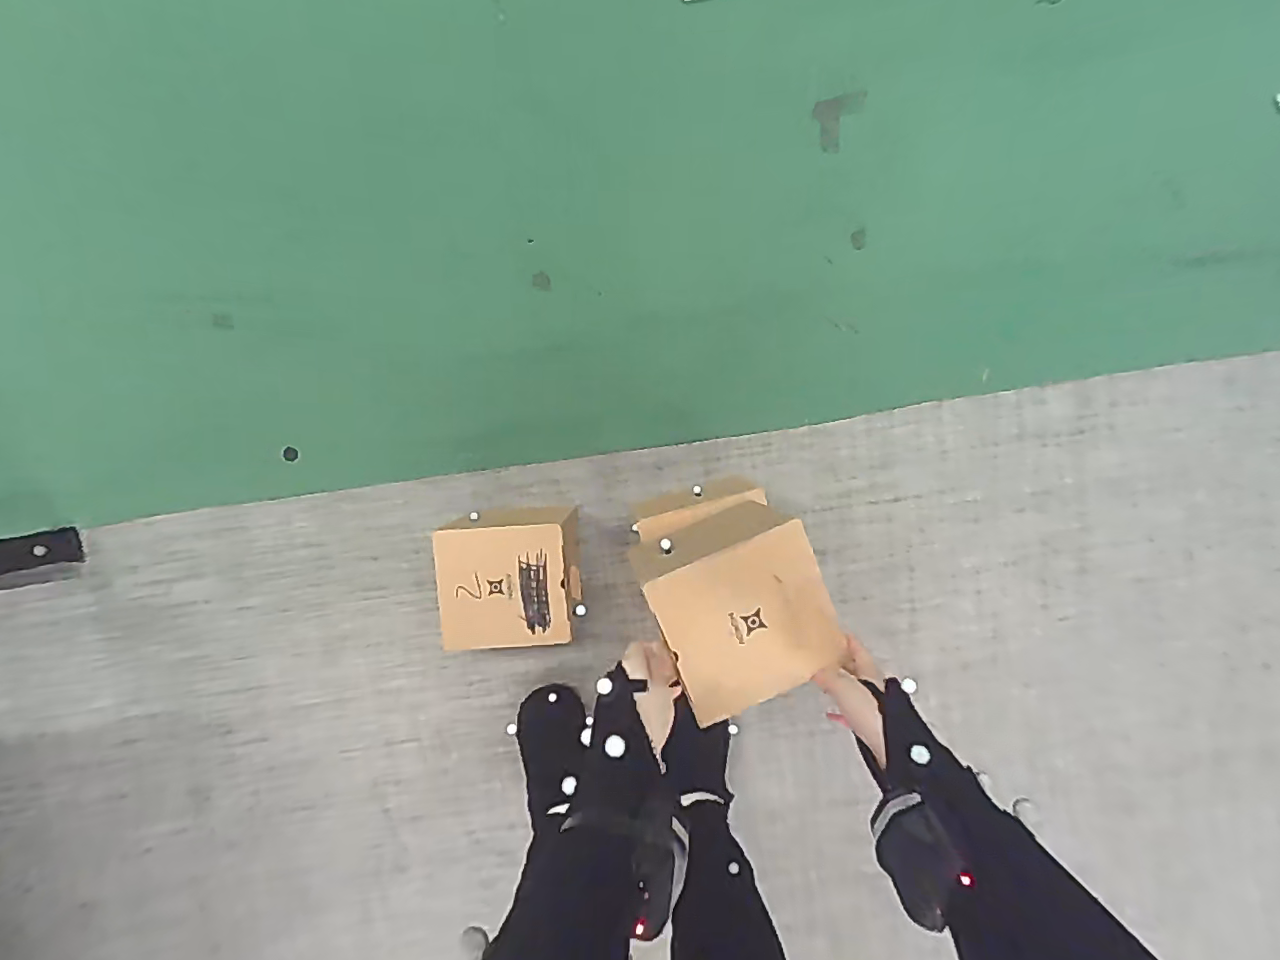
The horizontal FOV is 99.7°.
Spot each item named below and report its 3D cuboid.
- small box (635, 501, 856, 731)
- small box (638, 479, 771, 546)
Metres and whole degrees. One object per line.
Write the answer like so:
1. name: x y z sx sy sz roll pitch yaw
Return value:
1. small box: 0.101 0.136 0.608 0.179 0.176 0.168 -24 97 -4
2. small box: 0.101 0.102 0.788 0.179 0.176 0.168 -16 95 0
